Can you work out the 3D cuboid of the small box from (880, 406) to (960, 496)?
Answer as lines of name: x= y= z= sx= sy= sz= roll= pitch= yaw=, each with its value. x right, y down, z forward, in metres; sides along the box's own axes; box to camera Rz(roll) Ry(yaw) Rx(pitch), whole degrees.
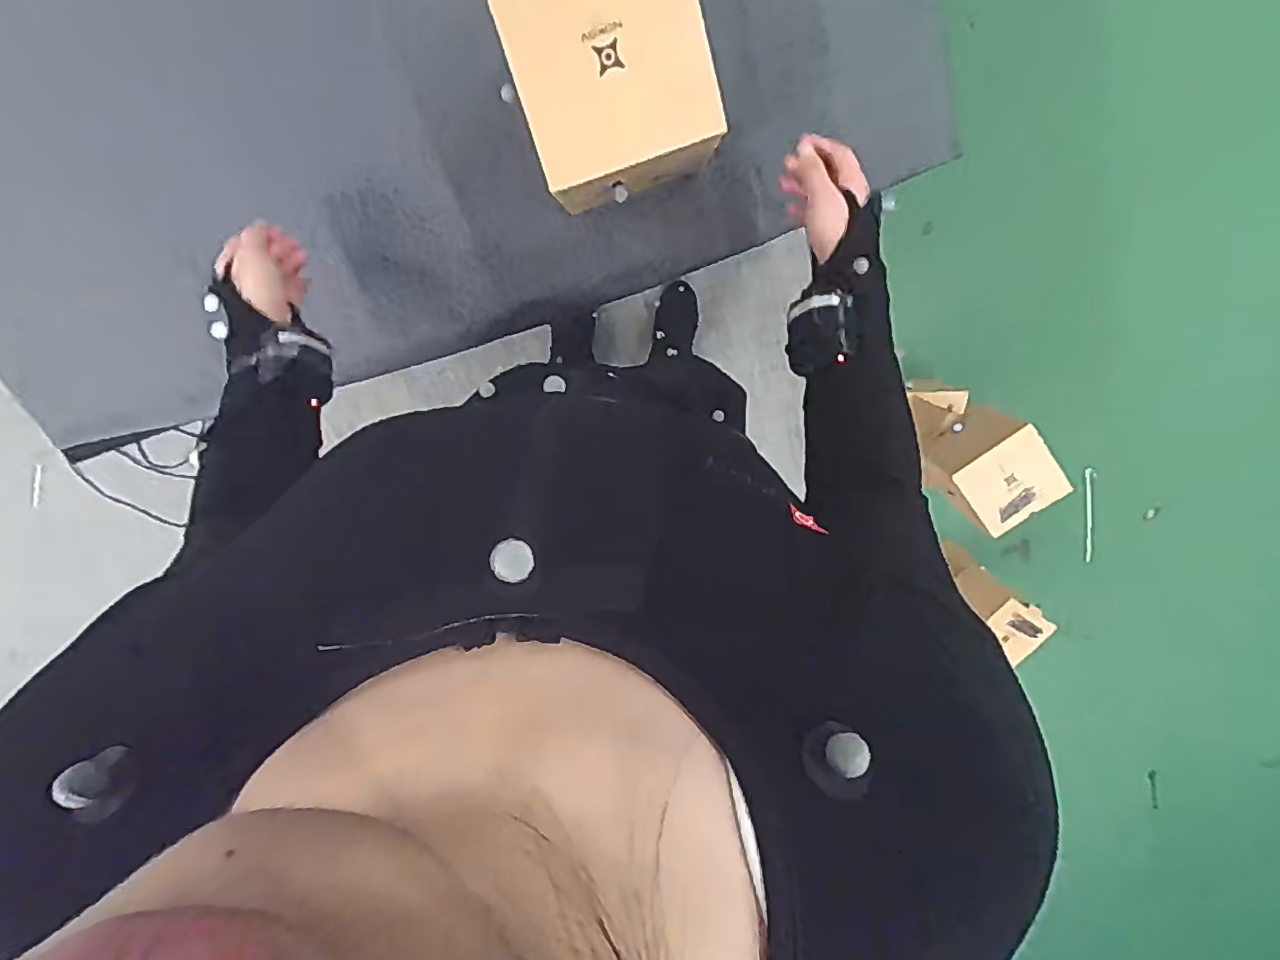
small box: x=0.695 y=-0.060 z=1.252 sx=0.179 sy=0.176 sz=0.168 roll=18 pitch=111 yaw=-8

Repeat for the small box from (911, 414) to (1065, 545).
small box: x=0.694 y=-0.009 z=1.096 sx=0.168 sy=0.176 sz=0.179 roll=-38 pitch=106 yaw=14

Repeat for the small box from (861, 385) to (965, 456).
small box: x=0.690 y=-0.148 z=1.392 sx=0.179 sy=0.176 sz=0.168 roll=-1 pitch=112 yaw=0

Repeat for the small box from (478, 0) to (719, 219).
small box: x=-0.031 y=-0.368 z=0.522 sx=0.168 sy=0.176 sz=0.179 roll=-17 pitch=109 yaw=6
